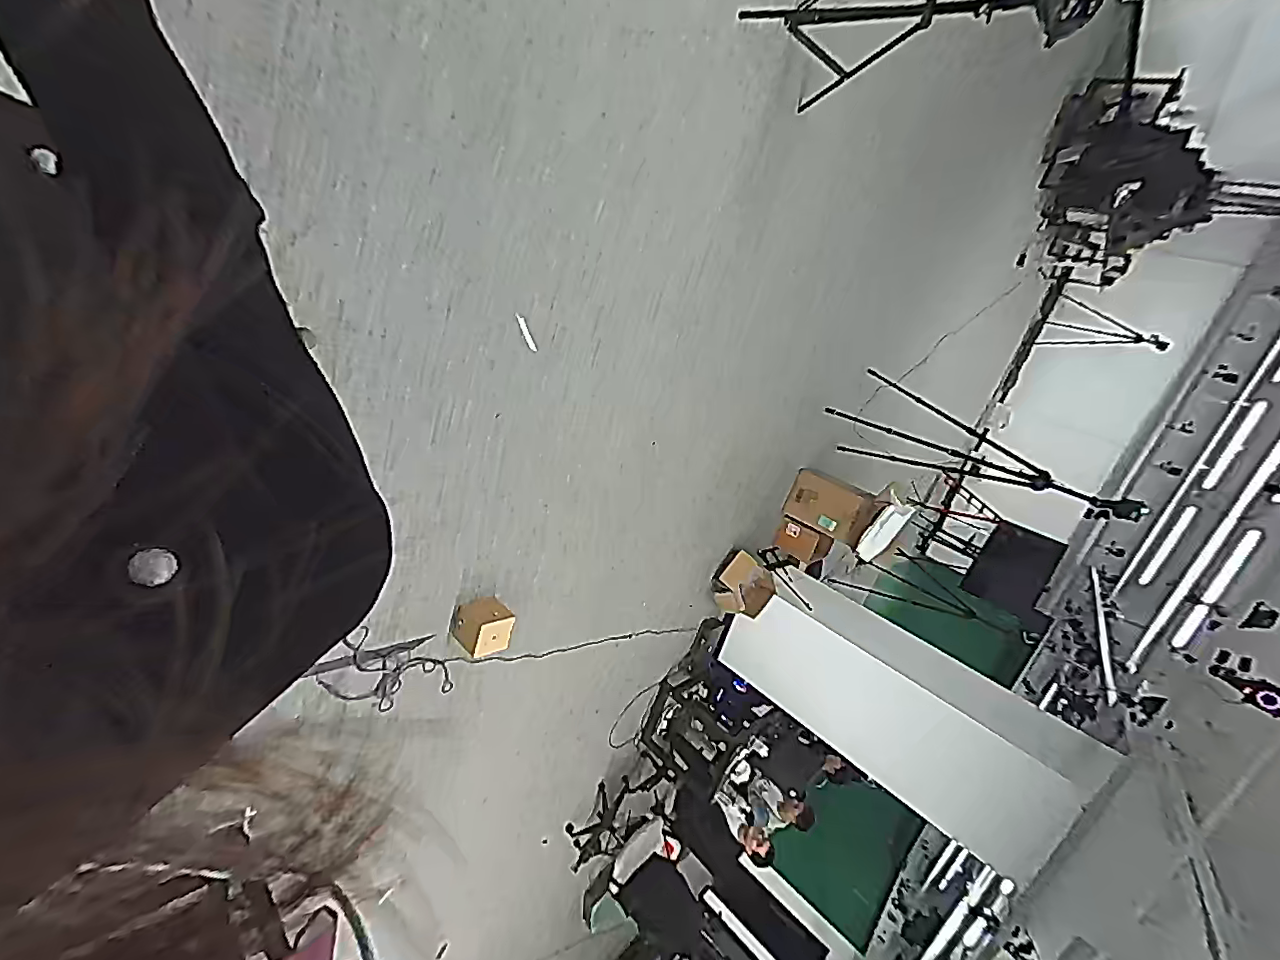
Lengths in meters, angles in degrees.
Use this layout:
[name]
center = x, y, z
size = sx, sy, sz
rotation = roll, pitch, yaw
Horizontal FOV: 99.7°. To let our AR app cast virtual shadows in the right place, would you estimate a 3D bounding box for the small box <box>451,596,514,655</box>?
[small box]
center = -0.679, 0.617, 2.320
size = 0.179, 0.176, 0.168
rotation = -1, 114, -52
